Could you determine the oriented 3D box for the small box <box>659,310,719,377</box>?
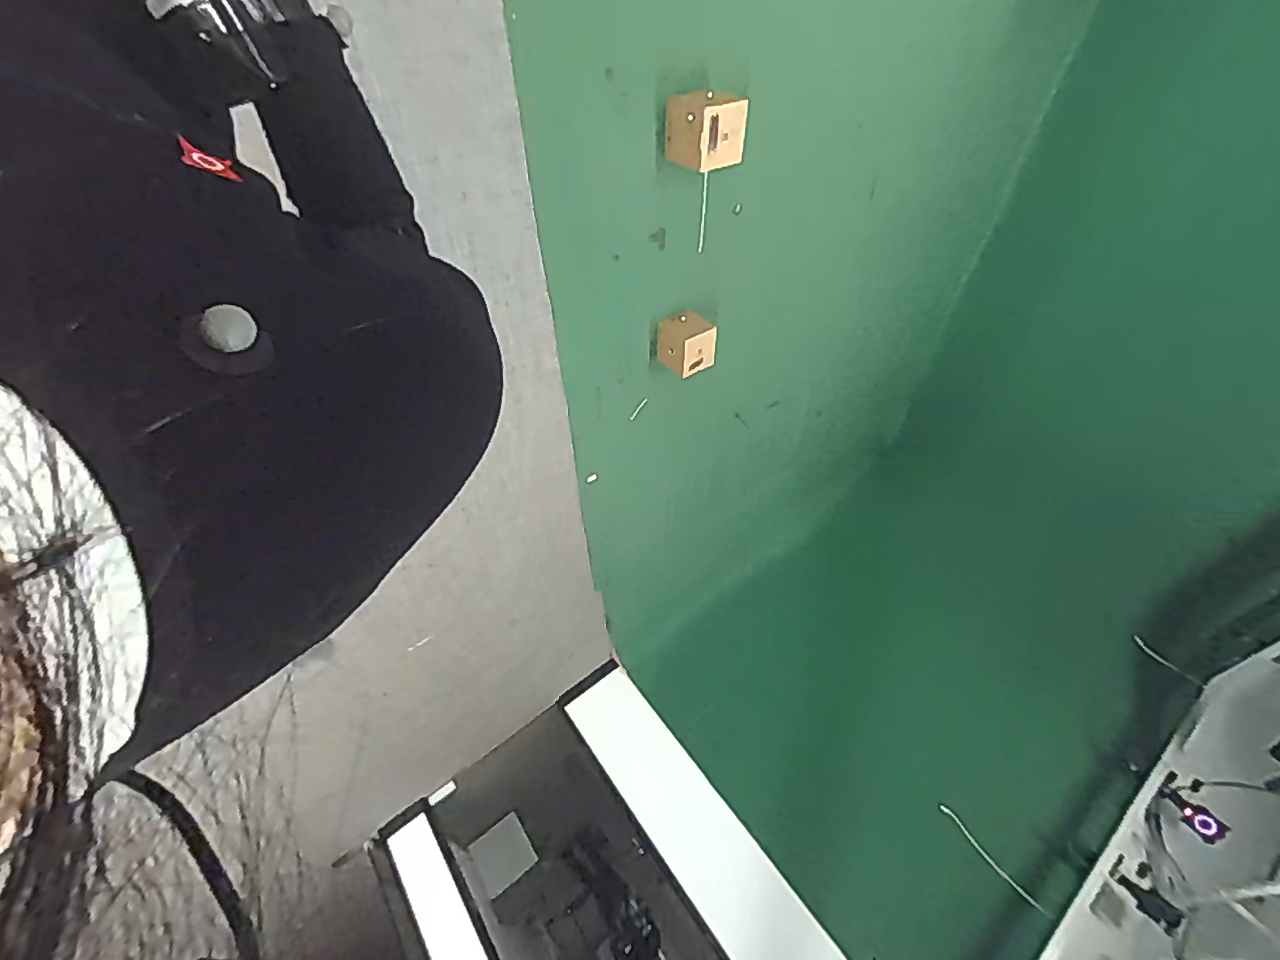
[{"bbox_3d":[0.188,-0.546,2.150,0.168,0.176,0.179,-29,143,-25],"label":"small box"}]
